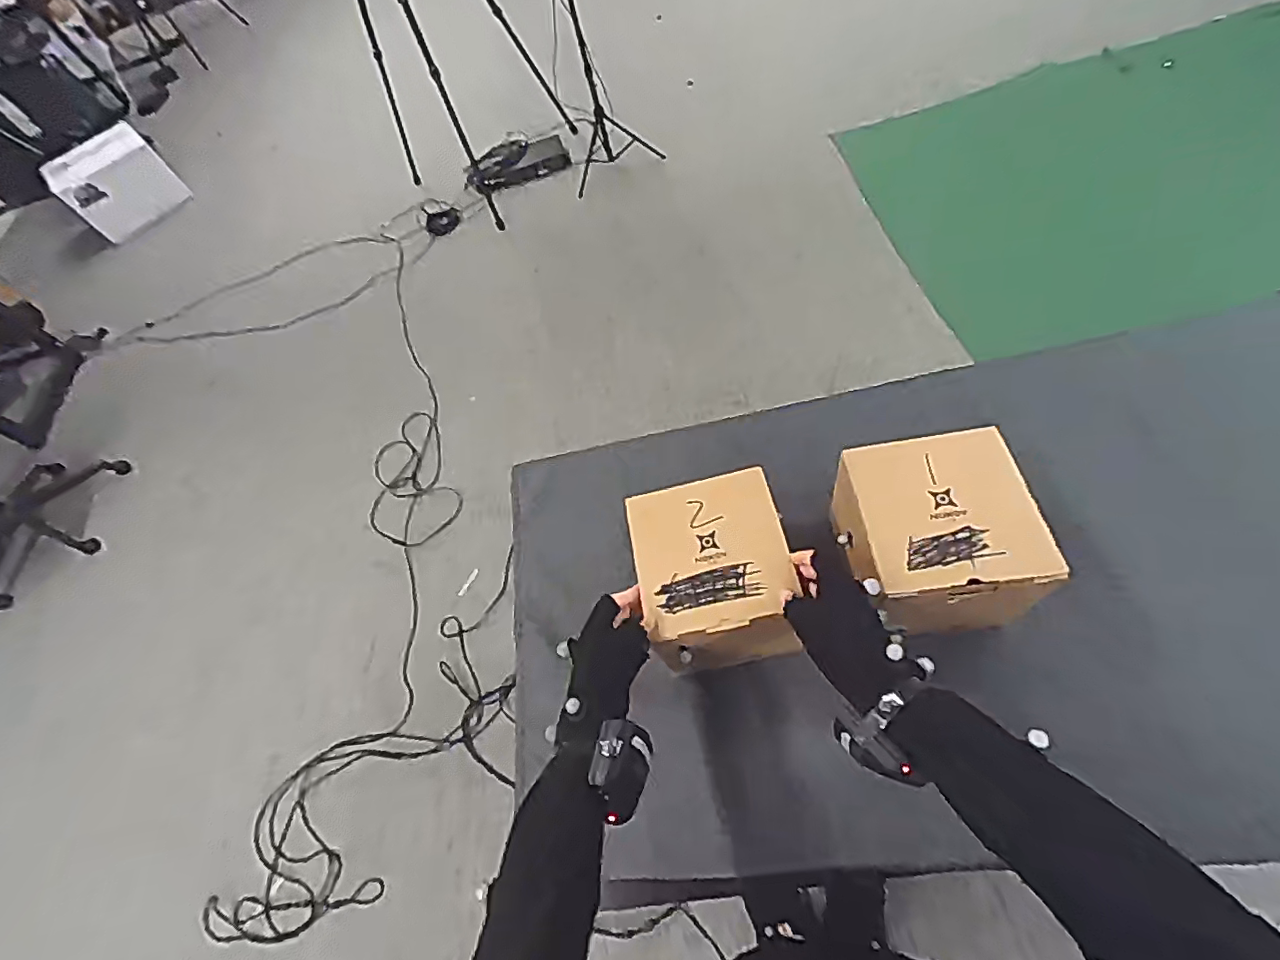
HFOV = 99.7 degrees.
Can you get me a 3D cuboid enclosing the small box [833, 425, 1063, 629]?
[{"bbox_3d":[0.329,0.065,0.623,0.168,0.176,0.179,-9,58,9],"label":"small box"}]
